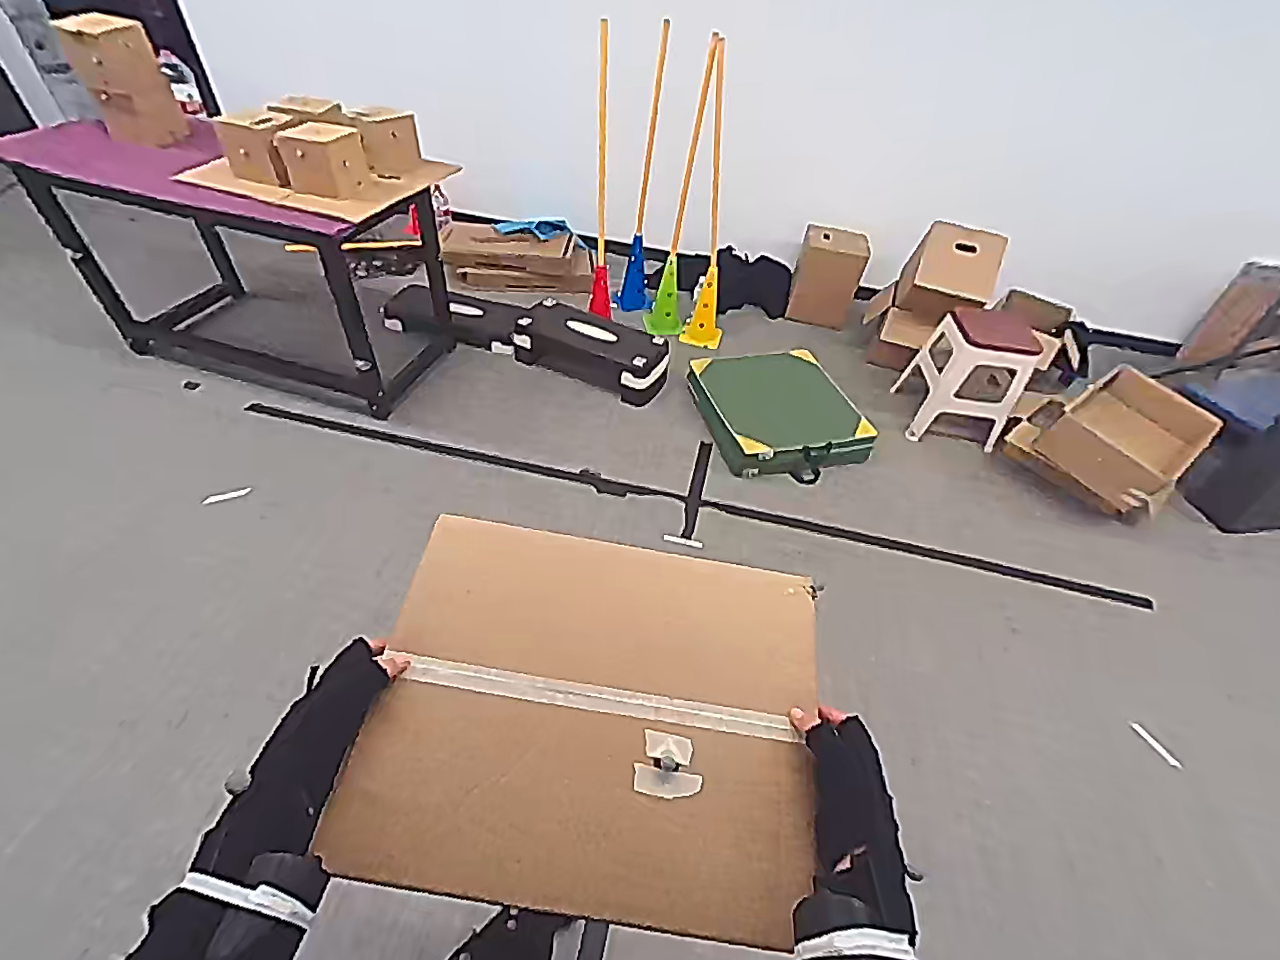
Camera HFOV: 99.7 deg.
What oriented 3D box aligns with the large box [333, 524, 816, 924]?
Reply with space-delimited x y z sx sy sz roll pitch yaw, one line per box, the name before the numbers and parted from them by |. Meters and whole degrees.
large box | -0.052 0.283 0.640 0.408 0.320 0.320 10 58 -1
